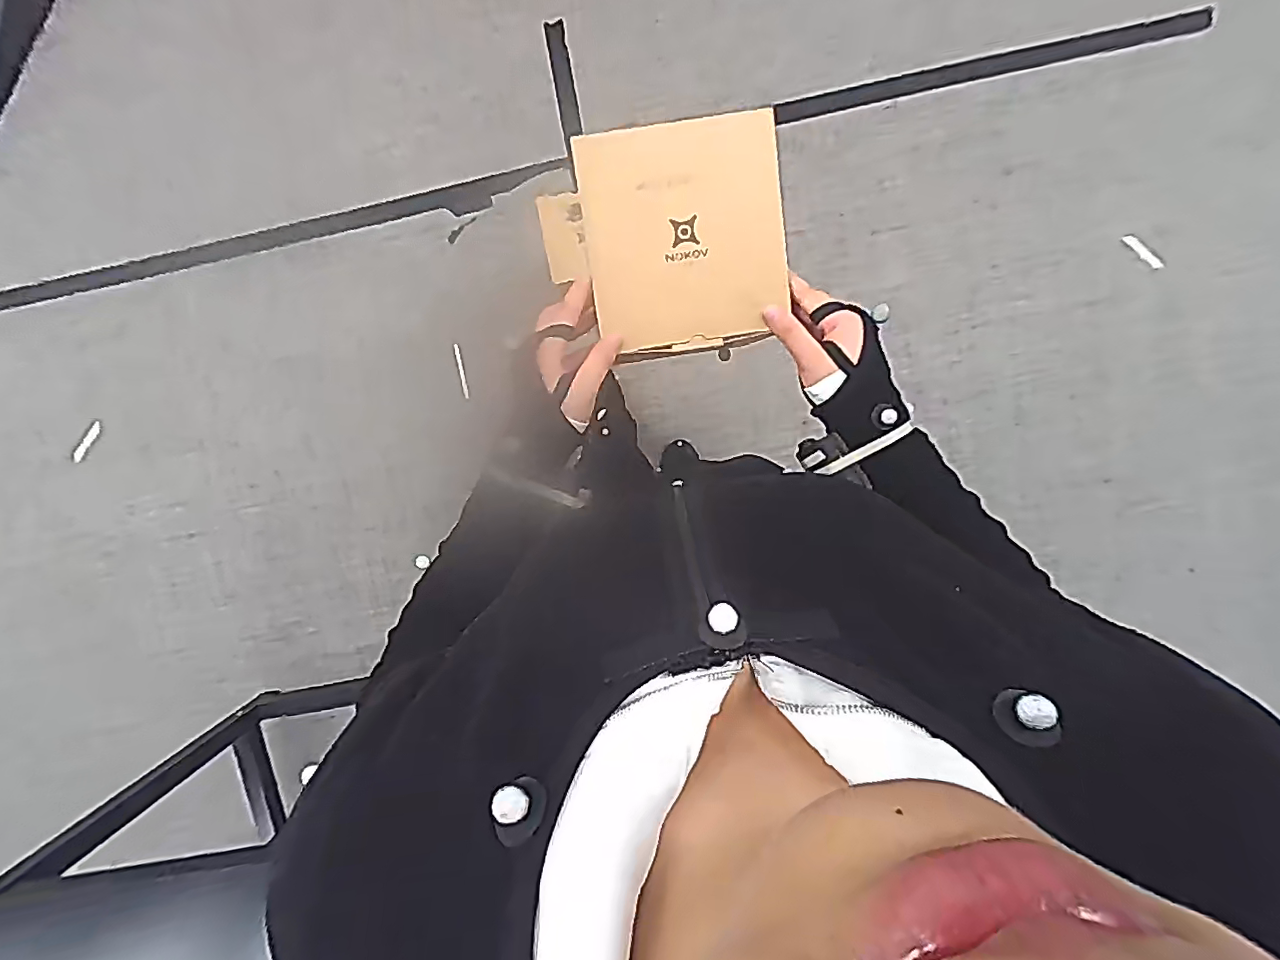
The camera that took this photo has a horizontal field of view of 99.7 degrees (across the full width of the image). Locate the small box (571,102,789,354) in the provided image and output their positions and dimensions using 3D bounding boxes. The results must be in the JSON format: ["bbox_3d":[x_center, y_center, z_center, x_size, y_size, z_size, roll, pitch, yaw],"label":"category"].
[{"bbox_3d":[0.034,-0.220,0.523,0.168,0.176,0.179,-9,100,-1],"label":"small box"}]

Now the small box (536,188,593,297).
[{"bbox_3d":[-0.119,-0.518,1.185,0.168,0.176,0.179,-10,98,2],"label":"small box"}]
